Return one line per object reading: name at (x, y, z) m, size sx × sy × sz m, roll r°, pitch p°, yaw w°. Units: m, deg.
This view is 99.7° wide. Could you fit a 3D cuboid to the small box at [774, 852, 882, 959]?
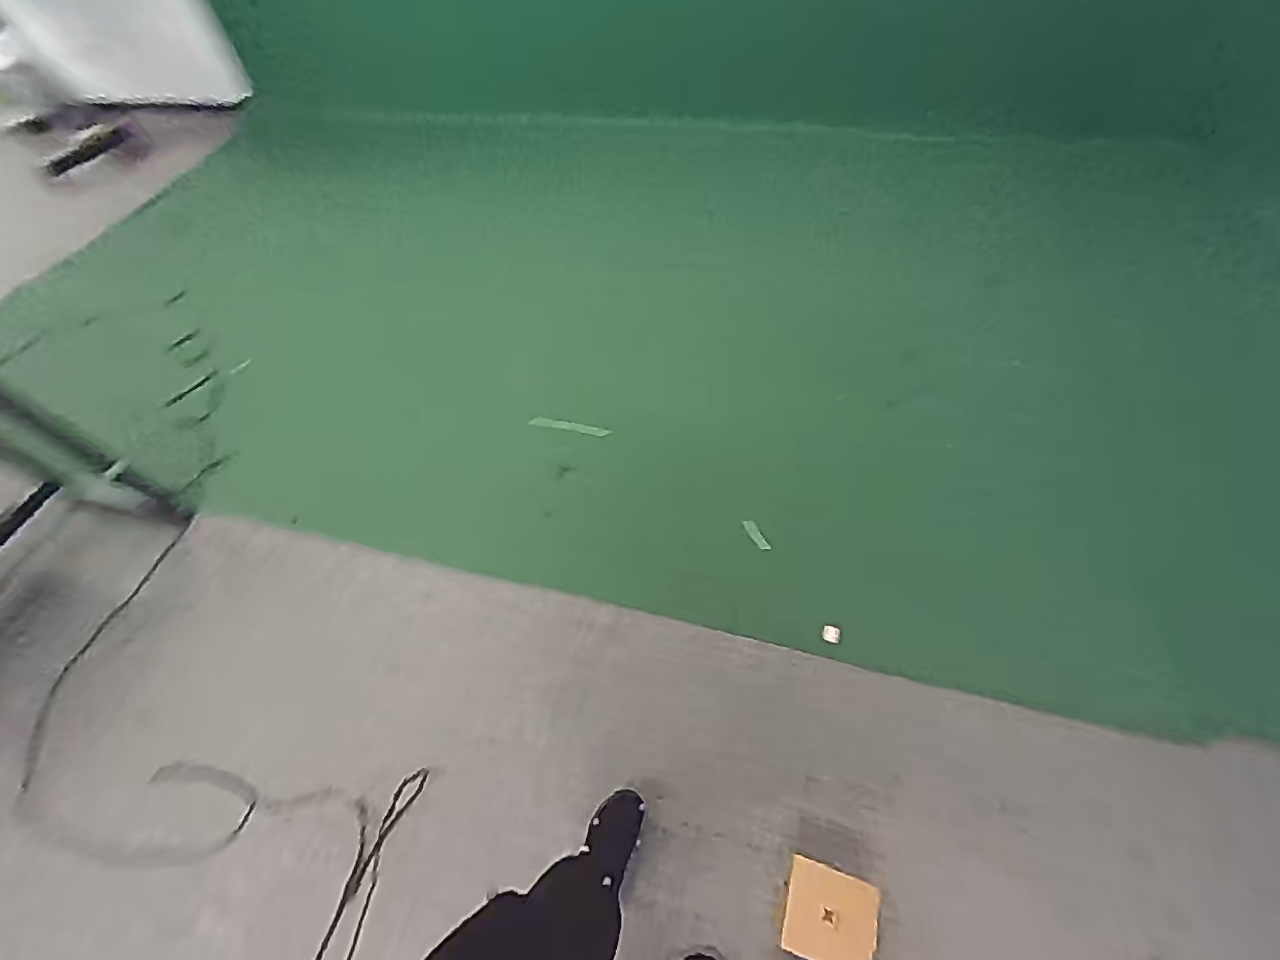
small box at (0.395, 0.925, 1.157) m, size 0.179 × 0.176 × 0.168 m, roll 15°, pitch 59°, yaw 14°
